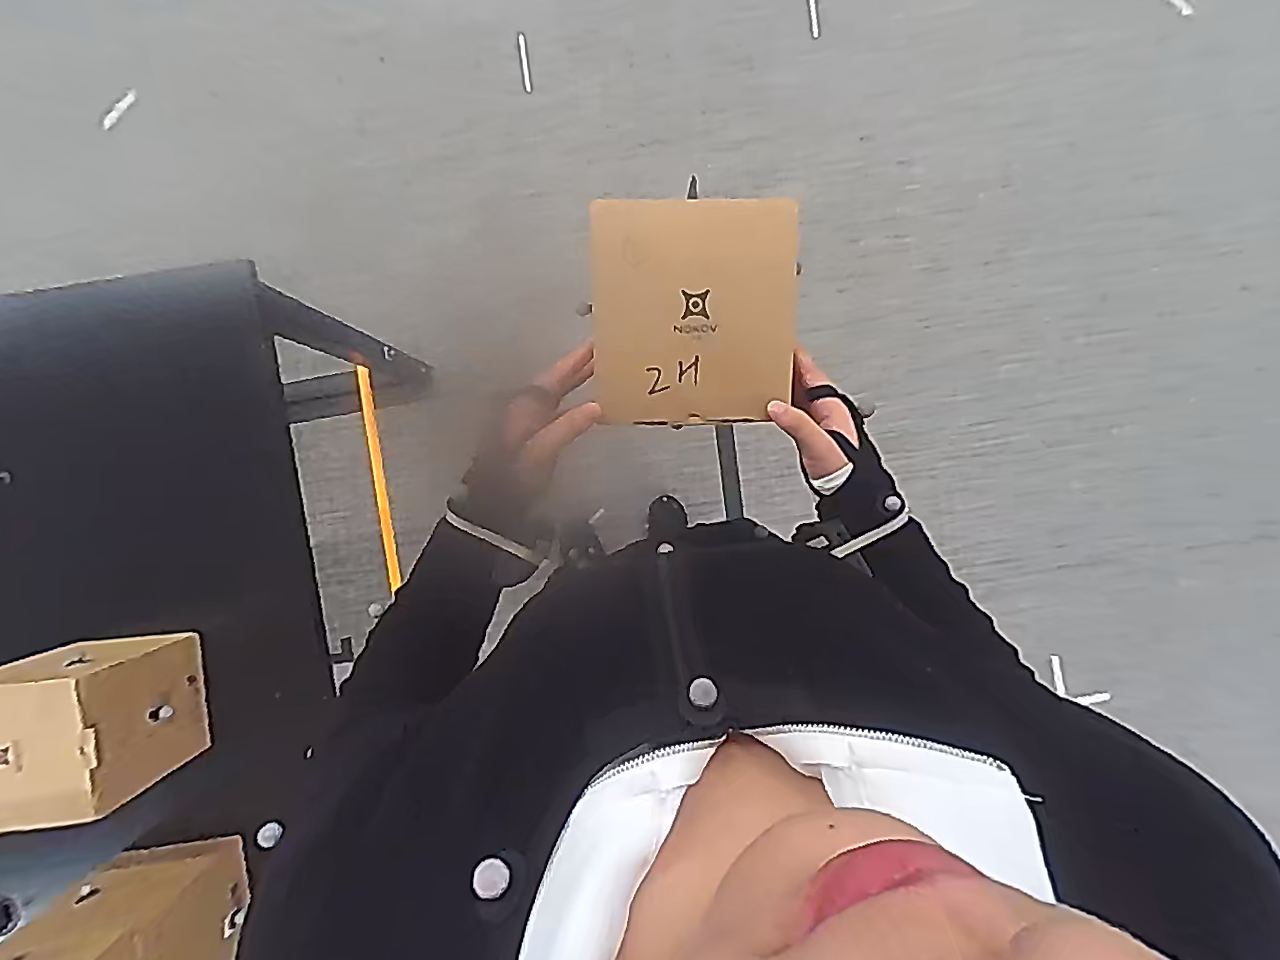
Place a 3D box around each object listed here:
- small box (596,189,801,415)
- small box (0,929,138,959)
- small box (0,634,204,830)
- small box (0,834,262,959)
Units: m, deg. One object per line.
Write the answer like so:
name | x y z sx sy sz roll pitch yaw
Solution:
small box | 0.042 -0.155 0.513 0.168 0.176 0.179 -1 102 -2
small box | -0.627 0.596 0.522 0.168 0.176 0.179 -10 91 -1
small box | -0.692 0.302 0.678 0.179 0.176 0.168 -5 92 -1
small box | -0.632 0.592 0.687 0.179 0.176 0.168 -9 92 -2
